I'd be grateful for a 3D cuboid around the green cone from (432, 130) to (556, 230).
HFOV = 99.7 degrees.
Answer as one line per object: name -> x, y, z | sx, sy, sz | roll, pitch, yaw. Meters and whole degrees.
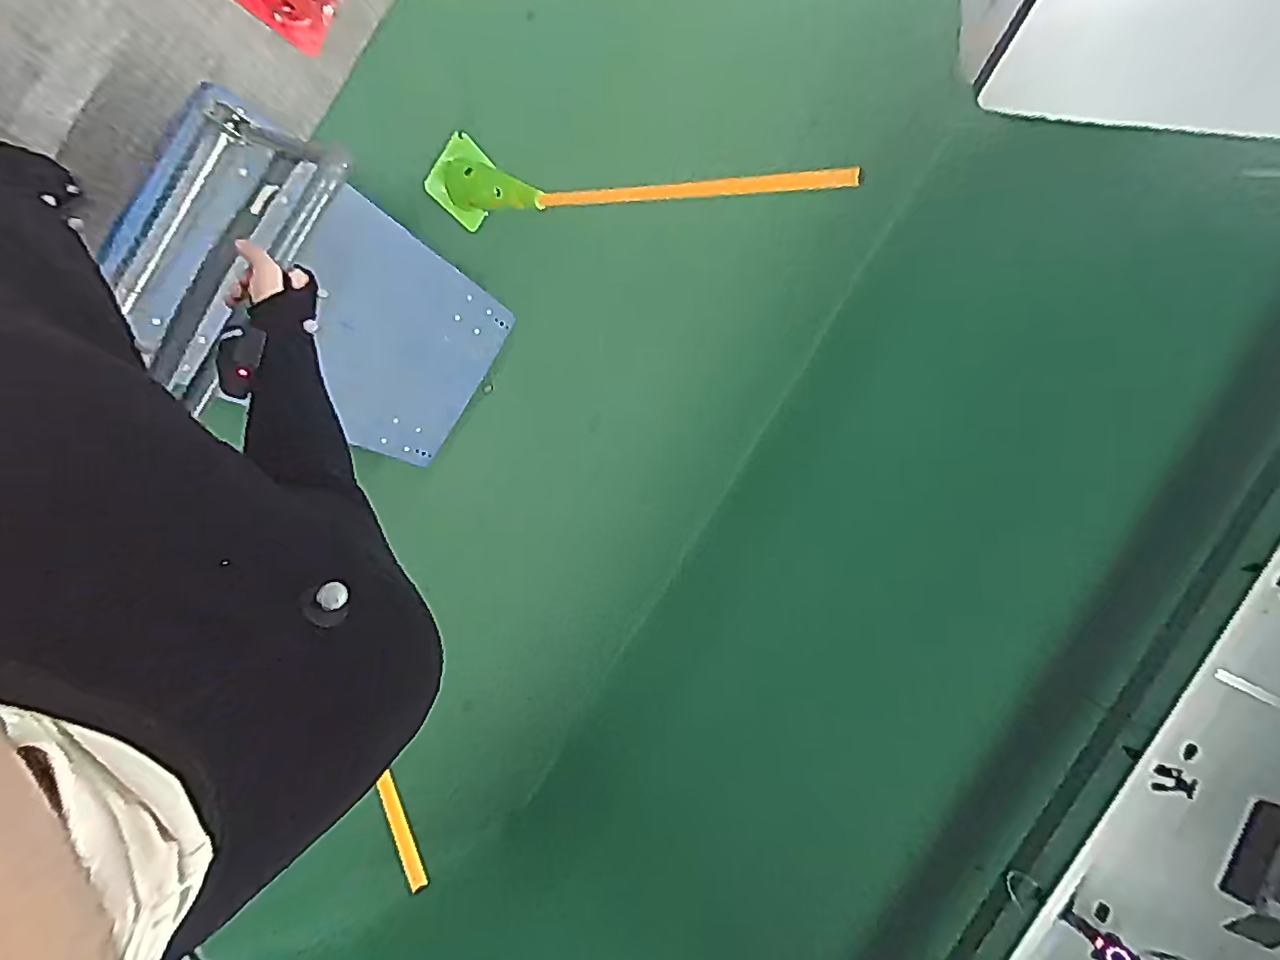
green cone -> -0.366, -0.793, 1.487 | 0.200, 0.368, 0.202 | -59, 149, 1
